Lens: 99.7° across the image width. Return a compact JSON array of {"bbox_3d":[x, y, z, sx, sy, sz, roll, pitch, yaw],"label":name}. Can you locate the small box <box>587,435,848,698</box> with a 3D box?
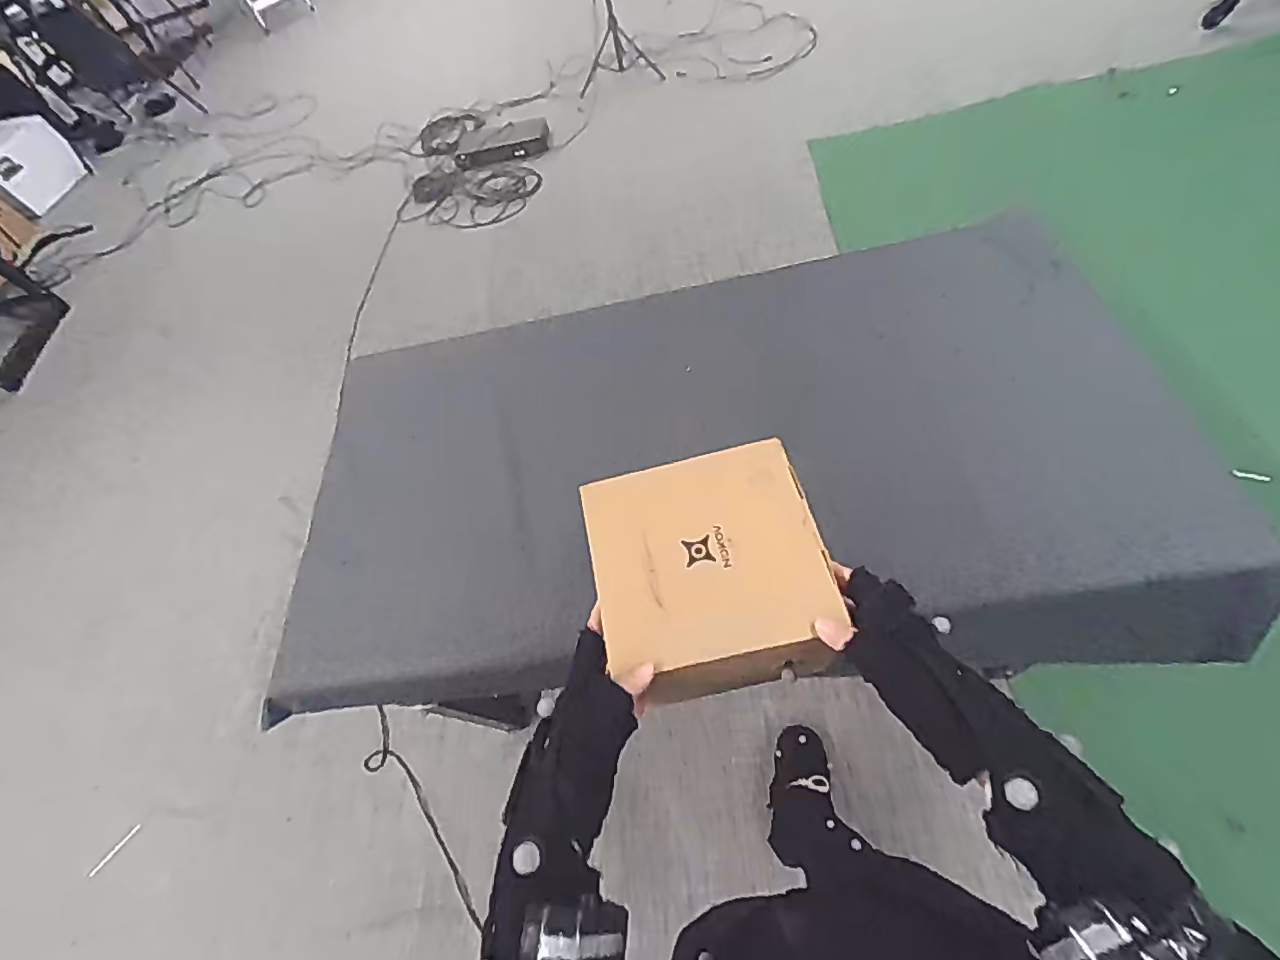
[{"bbox_3d":[0.064,0.088,0.498,0.179,0.176,0.168,-16,58,3],"label":"small box"}]
